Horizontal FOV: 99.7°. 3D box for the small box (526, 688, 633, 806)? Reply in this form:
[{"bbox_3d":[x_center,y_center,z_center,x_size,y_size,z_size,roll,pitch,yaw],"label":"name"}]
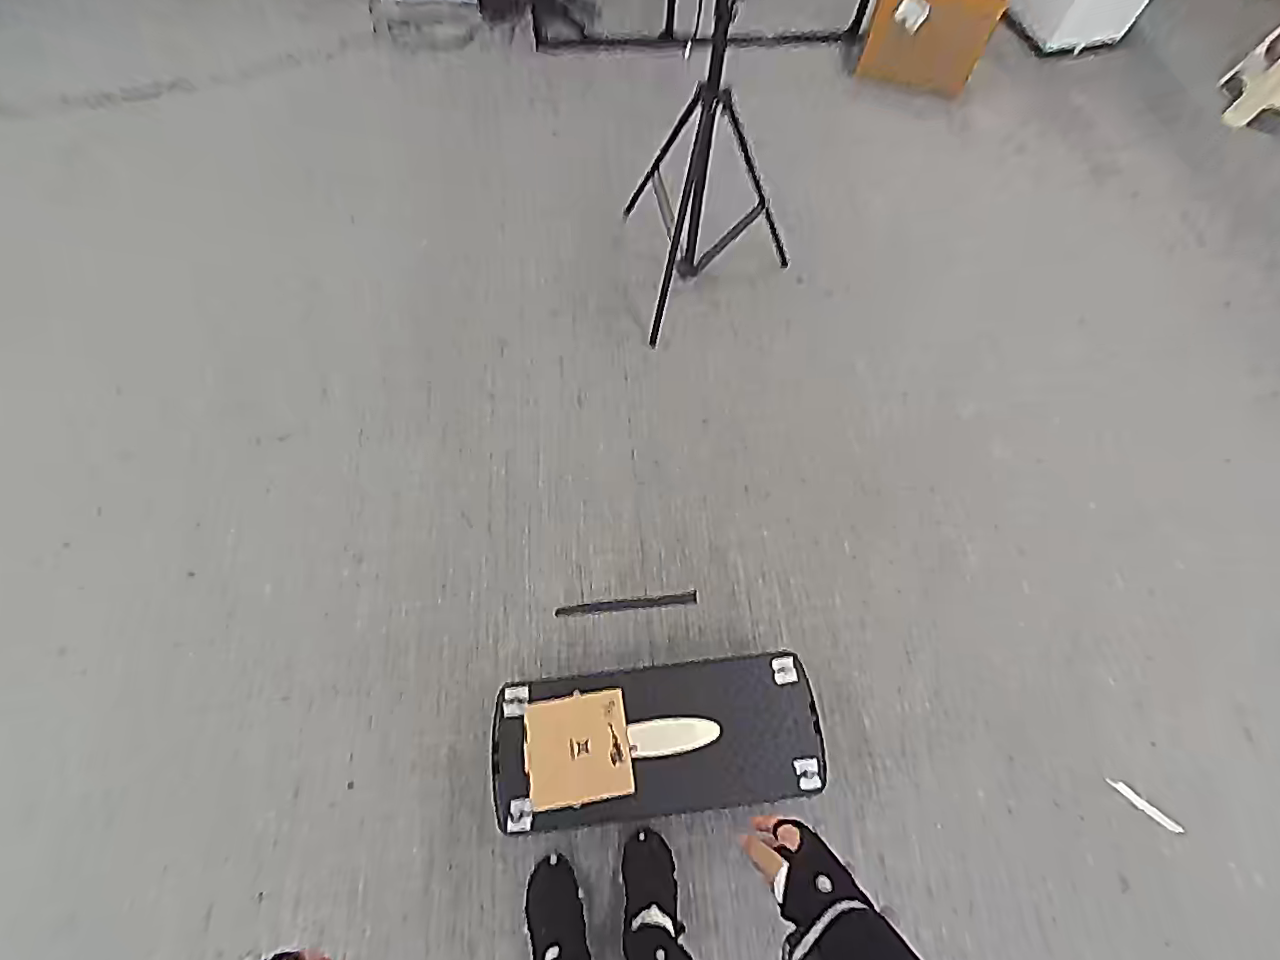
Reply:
[{"bbox_3d":[-0.108,0.493,1.008,0.179,0.176,0.168,-8,66,-5],"label":"small box"}]

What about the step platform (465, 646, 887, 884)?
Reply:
[{"bbox_3d":[0.055,0.493,0.973,0.684,0.204,0.286,-5,65,-5],"label":"step platform"}]
